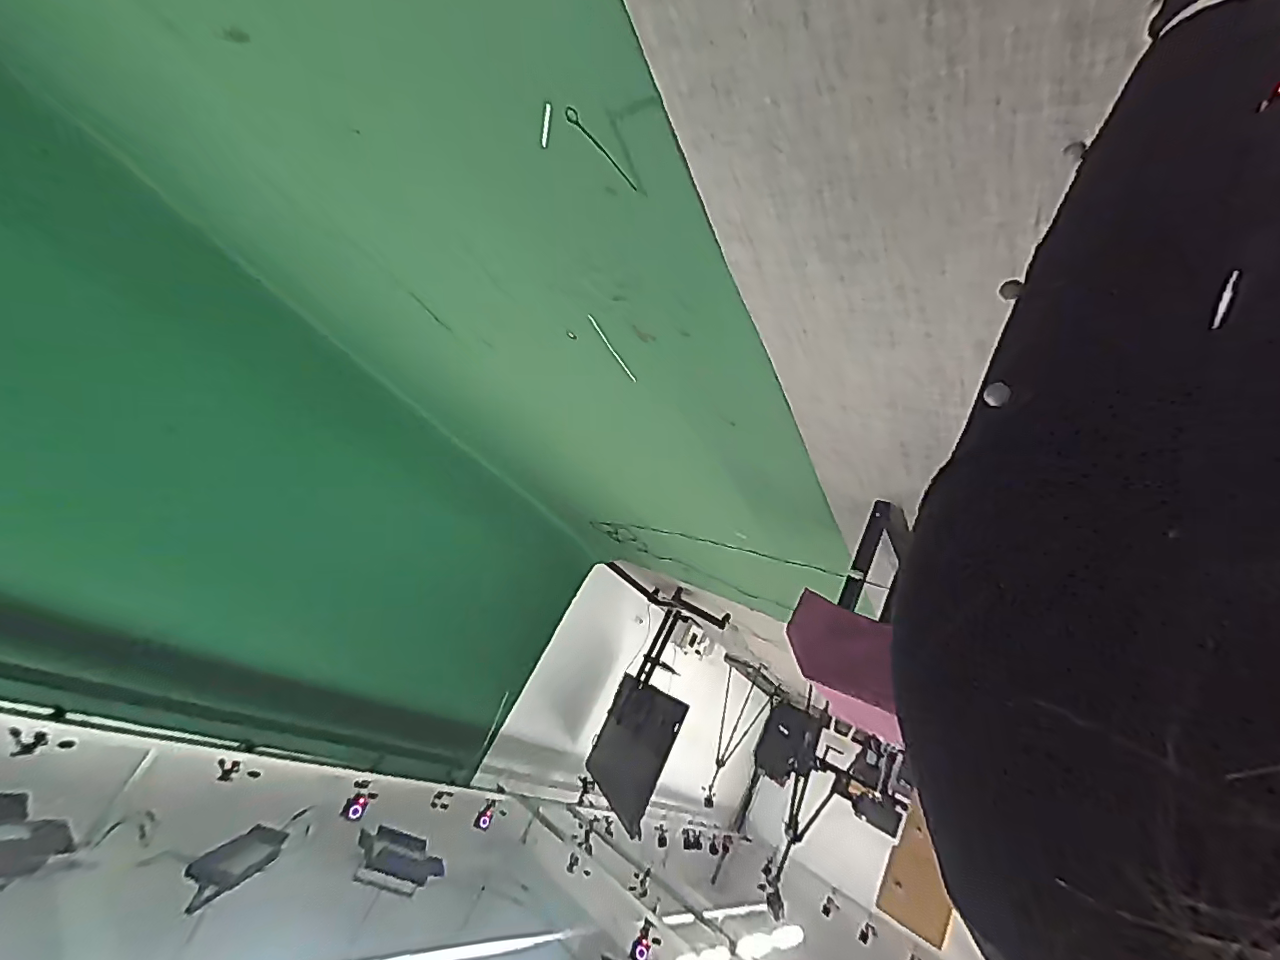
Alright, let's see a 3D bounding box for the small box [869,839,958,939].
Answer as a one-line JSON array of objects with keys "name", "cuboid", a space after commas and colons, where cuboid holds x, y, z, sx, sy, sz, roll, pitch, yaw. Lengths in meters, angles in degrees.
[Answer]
[{"name": "small box", "cuboid": [0.780, 1.152, 1.539, 0.179, 0.176, 0.168, 13, 157, 41]}]
